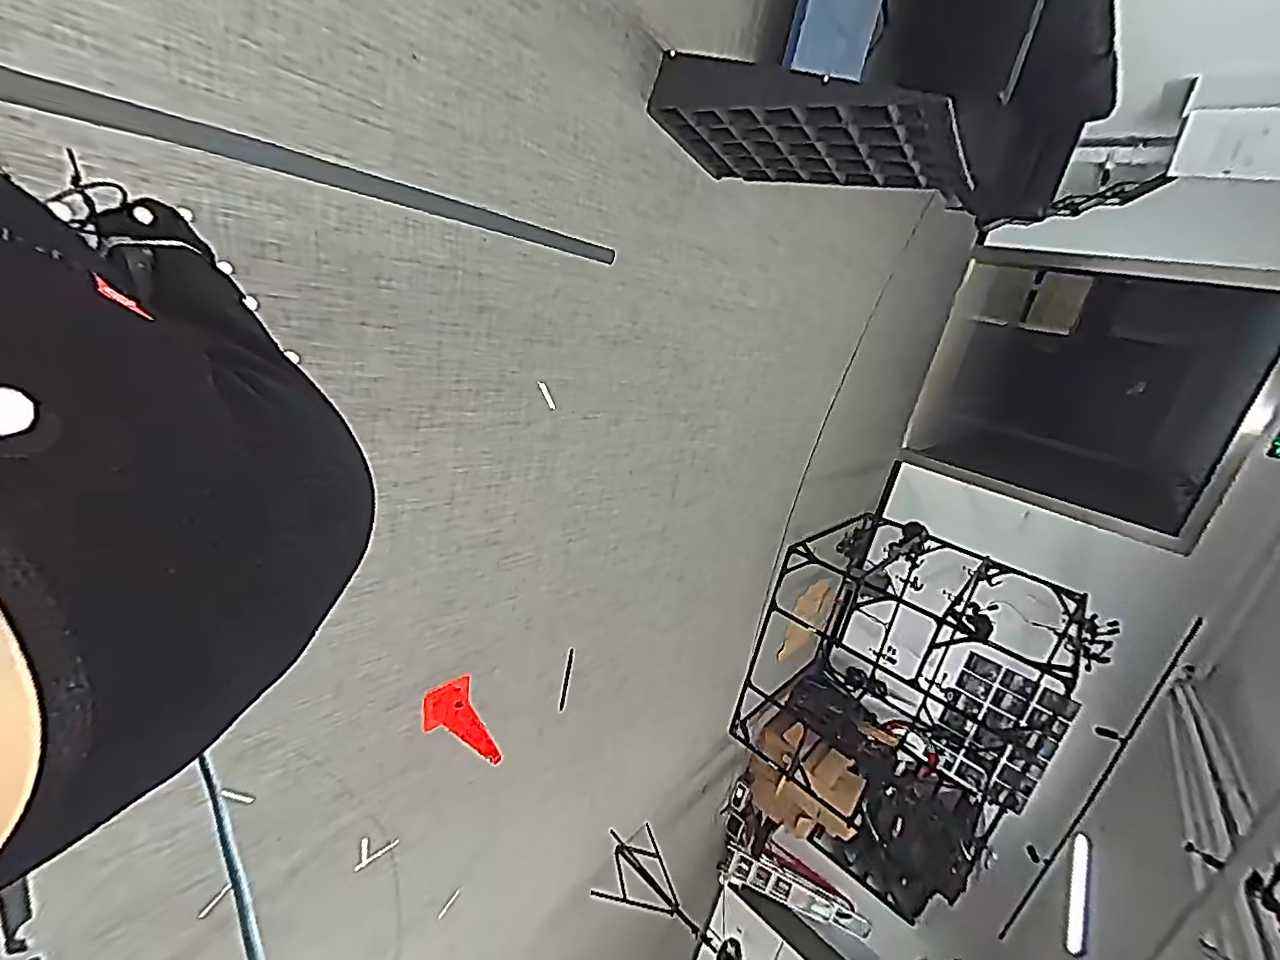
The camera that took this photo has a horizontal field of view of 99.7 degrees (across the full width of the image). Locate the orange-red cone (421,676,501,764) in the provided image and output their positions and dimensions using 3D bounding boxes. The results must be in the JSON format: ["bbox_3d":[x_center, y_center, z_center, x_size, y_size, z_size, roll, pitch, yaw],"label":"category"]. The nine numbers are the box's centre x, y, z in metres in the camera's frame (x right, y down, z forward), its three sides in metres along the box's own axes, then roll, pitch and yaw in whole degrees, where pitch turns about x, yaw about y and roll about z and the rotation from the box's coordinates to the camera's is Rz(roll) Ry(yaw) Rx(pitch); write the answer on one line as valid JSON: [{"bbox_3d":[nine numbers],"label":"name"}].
[{"bbox_3d":[-0.649,0.949,2.050,0.198,0.360,0.199,-15,121,-48],"label":"orange-red cone"}]
